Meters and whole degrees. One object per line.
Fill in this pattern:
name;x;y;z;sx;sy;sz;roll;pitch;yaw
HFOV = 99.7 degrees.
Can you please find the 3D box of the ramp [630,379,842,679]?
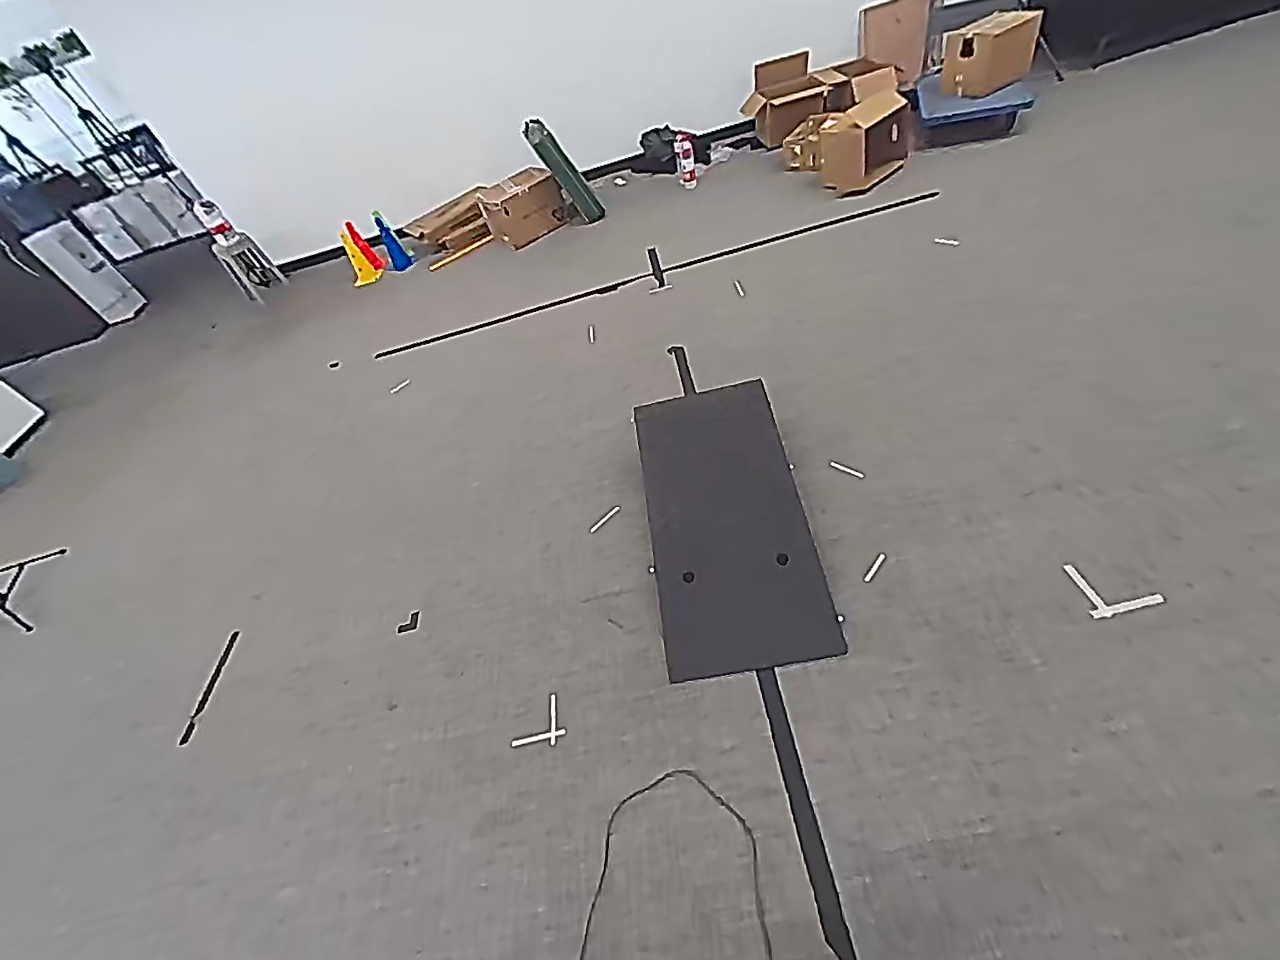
ramp;0.258;0.095;1.749;0.509;0.206;0.991;-13;47;5
